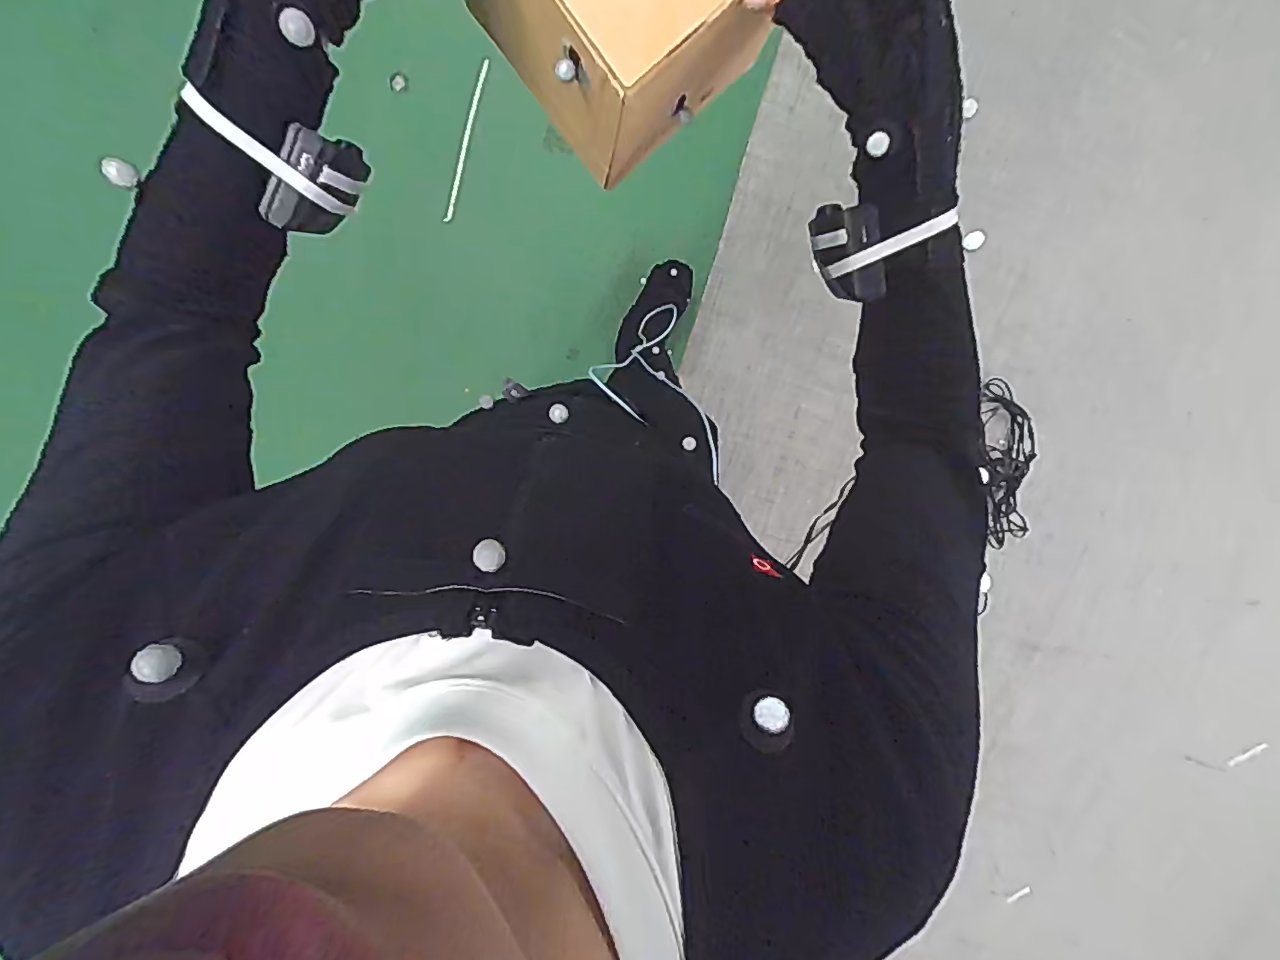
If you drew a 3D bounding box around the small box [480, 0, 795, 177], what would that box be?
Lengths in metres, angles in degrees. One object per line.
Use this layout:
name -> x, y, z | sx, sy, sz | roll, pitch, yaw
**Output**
small box -> -0.006, -0.352, 0.367 | 0.168, 0.176, 0.179 | -40, 105, 1
